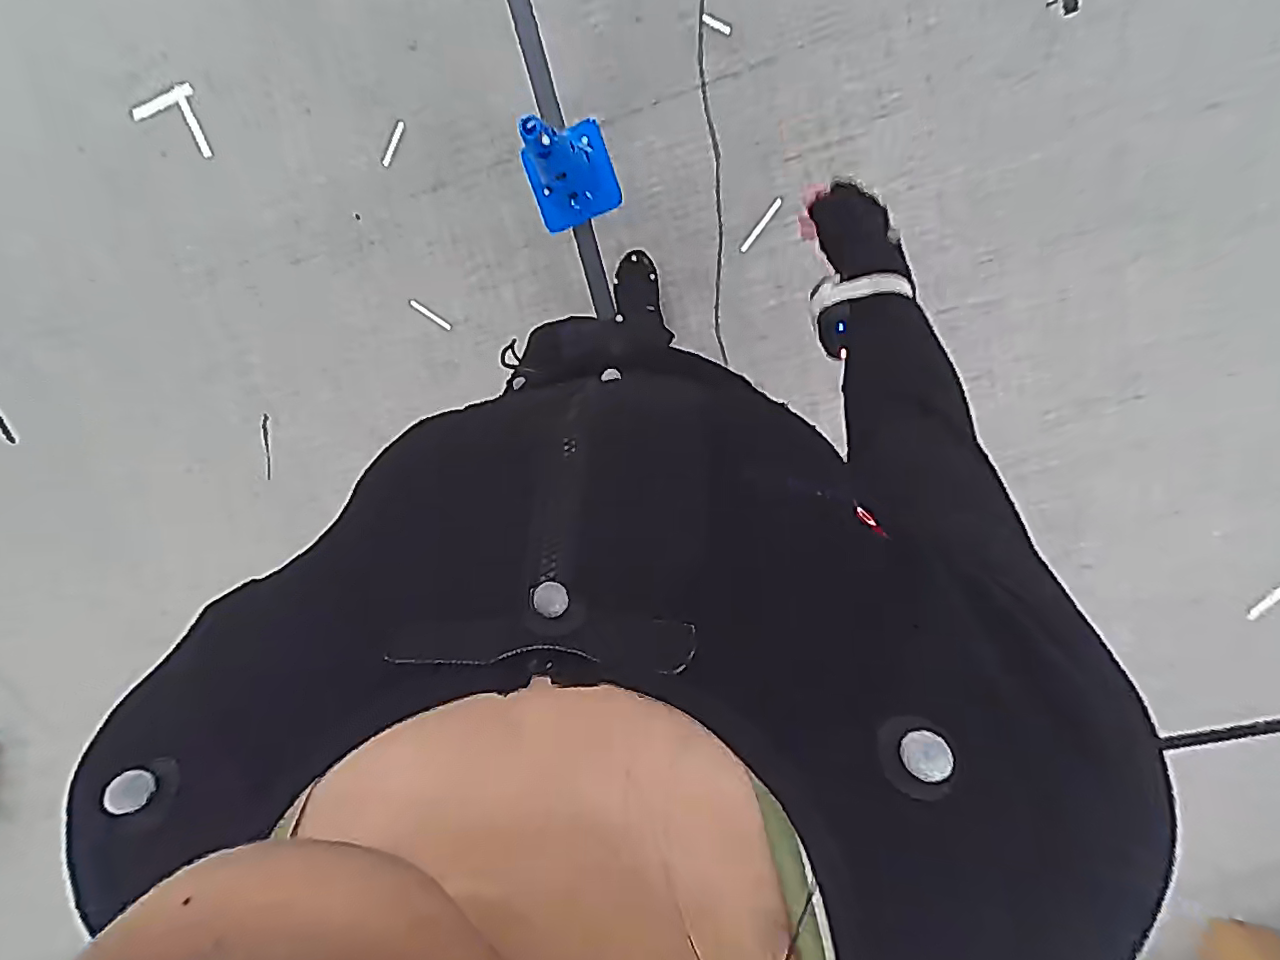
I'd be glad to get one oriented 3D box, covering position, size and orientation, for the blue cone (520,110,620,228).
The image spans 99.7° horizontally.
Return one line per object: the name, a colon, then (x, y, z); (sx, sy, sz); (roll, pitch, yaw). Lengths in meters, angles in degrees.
blue cone: (-0.179, -0.665, 1.106); (0.192, 0.380, 0.193); (-20, 103, 11)
